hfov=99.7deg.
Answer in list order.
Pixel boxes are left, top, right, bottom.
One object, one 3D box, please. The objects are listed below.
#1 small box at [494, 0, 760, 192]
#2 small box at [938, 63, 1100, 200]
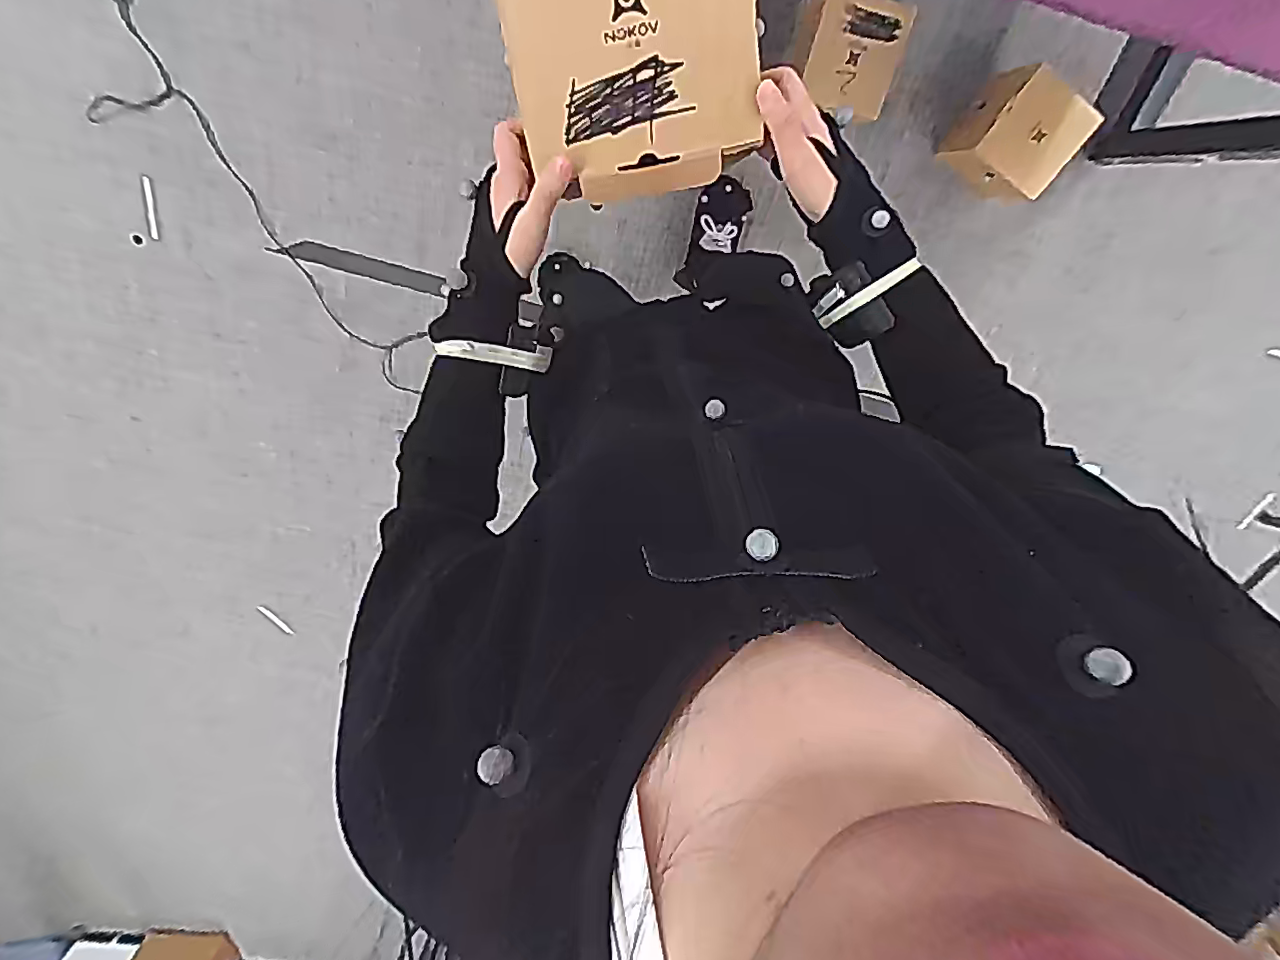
[{"bbox_3d":[-0.009,-0.333,0.418,0.168,0.176,0.179,-9,114,4],"label":"small box"},{"bbox_3d":[0.768,-0.710,1.114,0.179,0.176,0.168,29,116,-13],"label":"small box"}]
